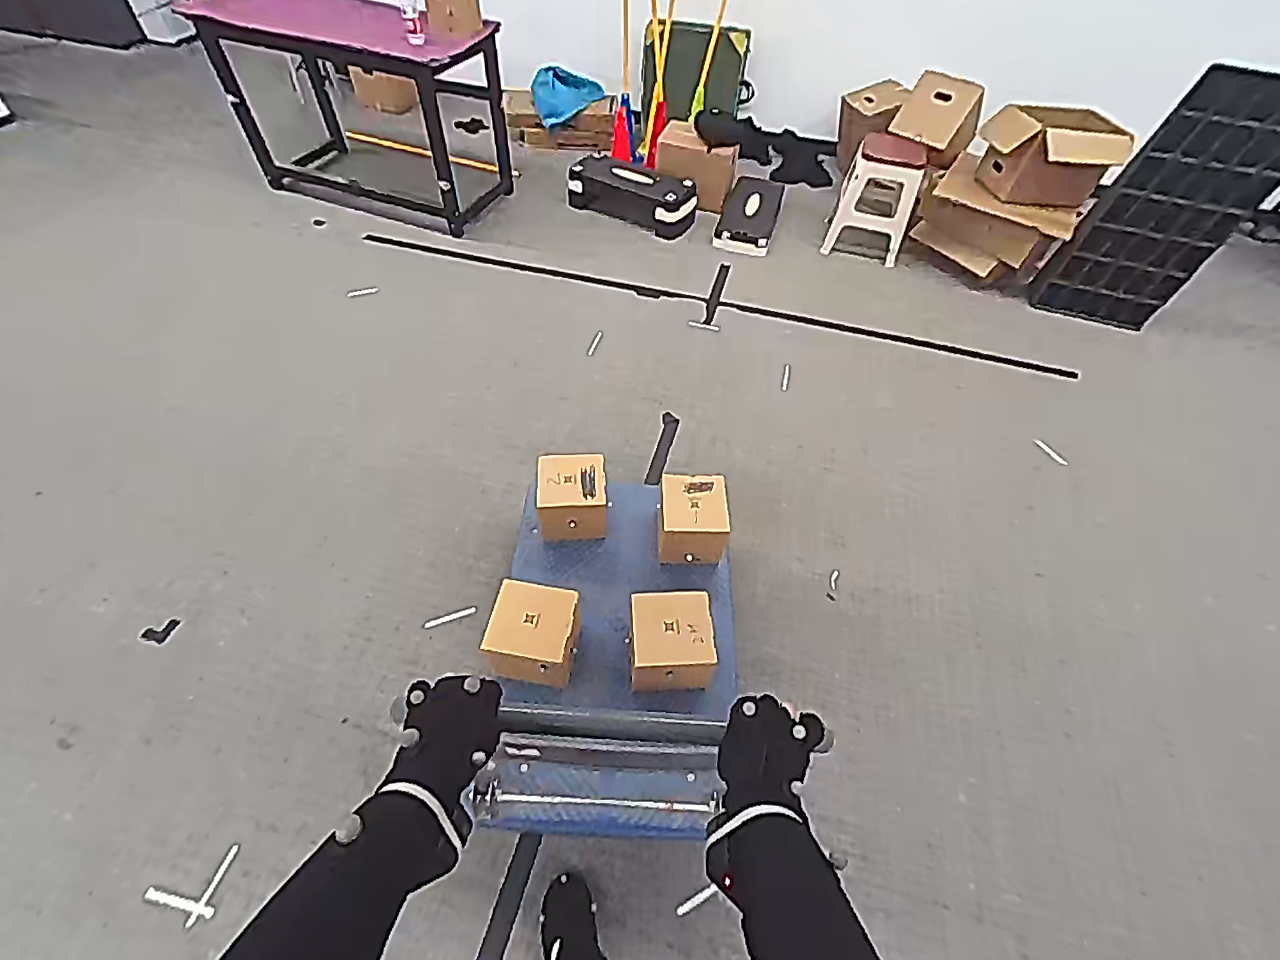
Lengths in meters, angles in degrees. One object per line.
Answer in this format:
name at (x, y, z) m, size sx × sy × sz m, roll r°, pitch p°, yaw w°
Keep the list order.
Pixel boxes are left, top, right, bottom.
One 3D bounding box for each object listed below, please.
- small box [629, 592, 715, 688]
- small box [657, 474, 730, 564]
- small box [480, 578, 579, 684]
small box at (0.064, 0.365, 1.225) m, size 0.179 × 0.176 × 0.168 m, roll 0°, pitch 53°, yaw -4°
small box at (0.134, 0.104, 1.429) m, size 0.168 × 0.176 × 0.179 m, roll 2°, pitch 54°, yaw -2°
small box at (-0.240, 0.345, 1.221) m, size 0.179 × 0.176 × 0.168 m, roll 10°, pitch 52°, yaw 2°
